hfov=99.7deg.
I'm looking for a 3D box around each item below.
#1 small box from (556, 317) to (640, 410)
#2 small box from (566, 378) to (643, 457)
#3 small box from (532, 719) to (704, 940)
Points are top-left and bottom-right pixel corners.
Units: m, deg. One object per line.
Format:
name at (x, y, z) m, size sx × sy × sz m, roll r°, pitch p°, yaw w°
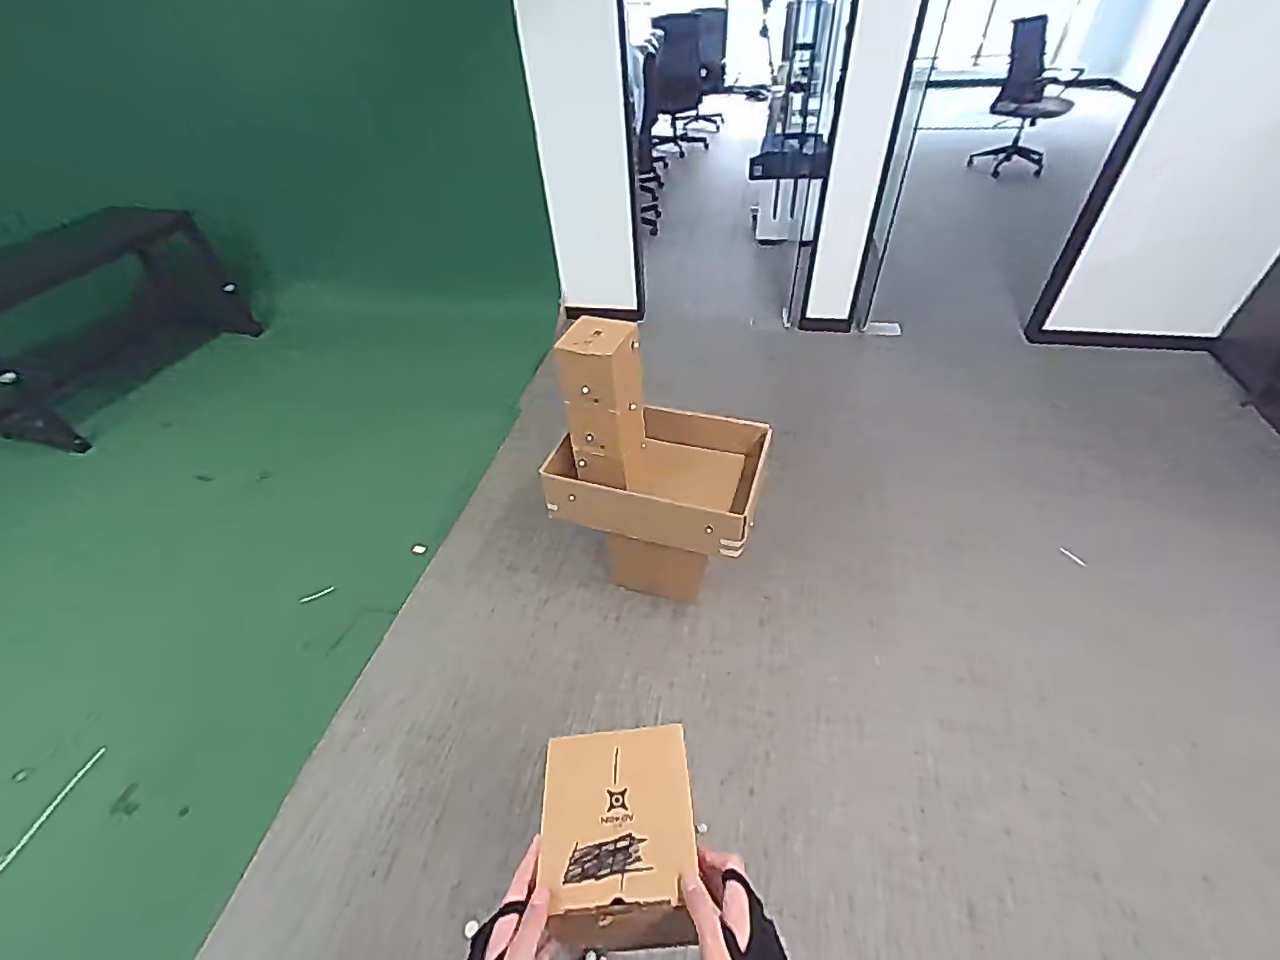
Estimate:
small box at (-0.105, -0.315, 1.459) m, size 0.168 × 0.176 × 0.179 m, roll 13°, pitch 47°, yaw 18°
small box at (-0.097, -0.194, 1.572) m, size 0.168 × 0.176 × 0.179 m, roll 13°, pitch 47°, yaw 17°
small box at (-0.017, 0.412, 0.636) m, size 0.168 × 0.176 × 0.179 m, roll -6°, pitch 37°, yaw 3°
